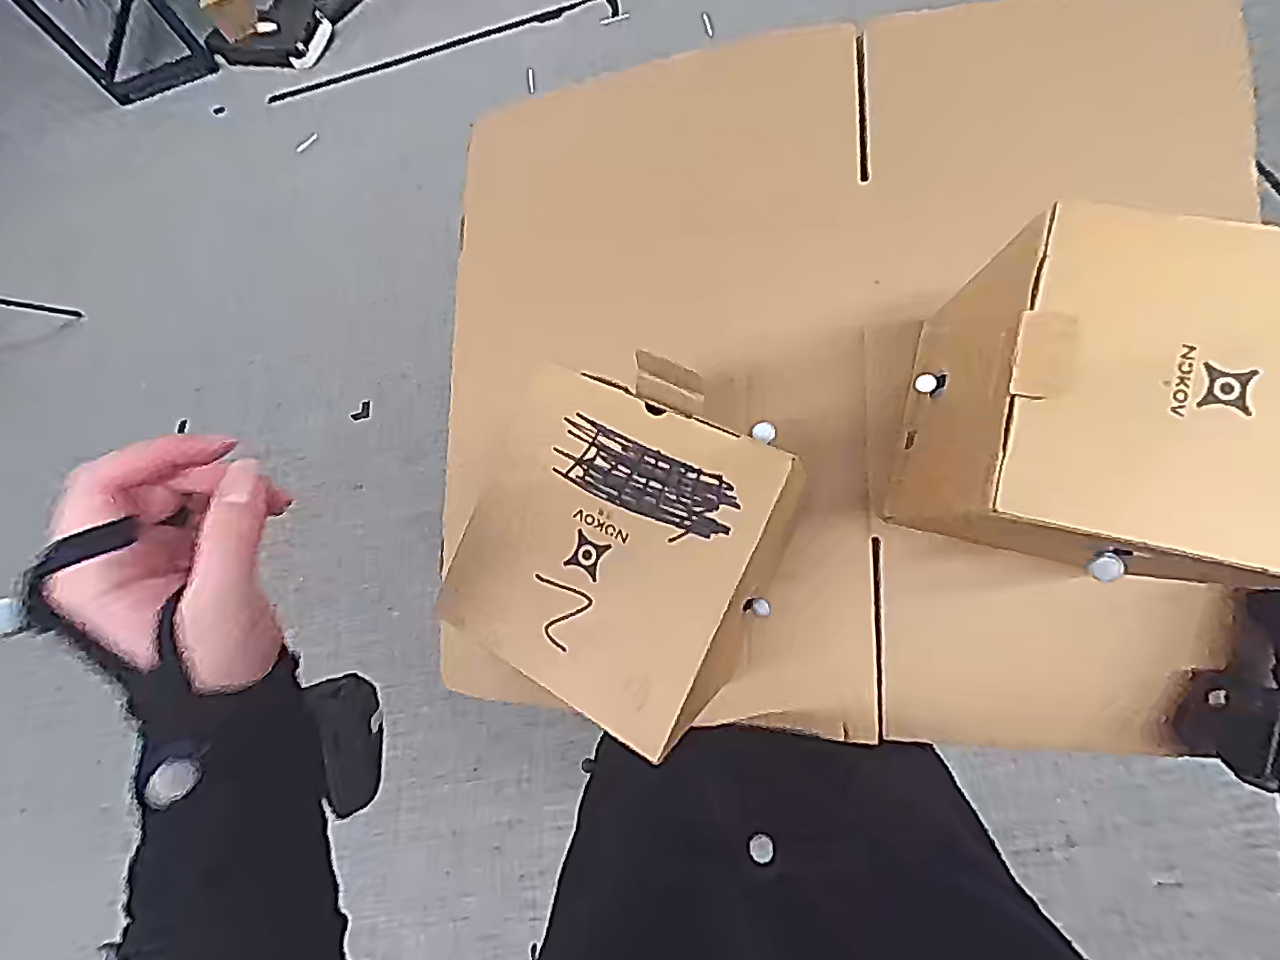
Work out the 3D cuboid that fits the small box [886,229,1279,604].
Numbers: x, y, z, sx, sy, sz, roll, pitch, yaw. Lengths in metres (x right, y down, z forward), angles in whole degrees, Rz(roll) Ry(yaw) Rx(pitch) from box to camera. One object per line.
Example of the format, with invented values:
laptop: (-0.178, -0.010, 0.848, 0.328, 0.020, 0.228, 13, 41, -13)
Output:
small box: (0.287, -0.029, 0.349, 0.179, 0.176, 0.168, 13, 87, 10)
